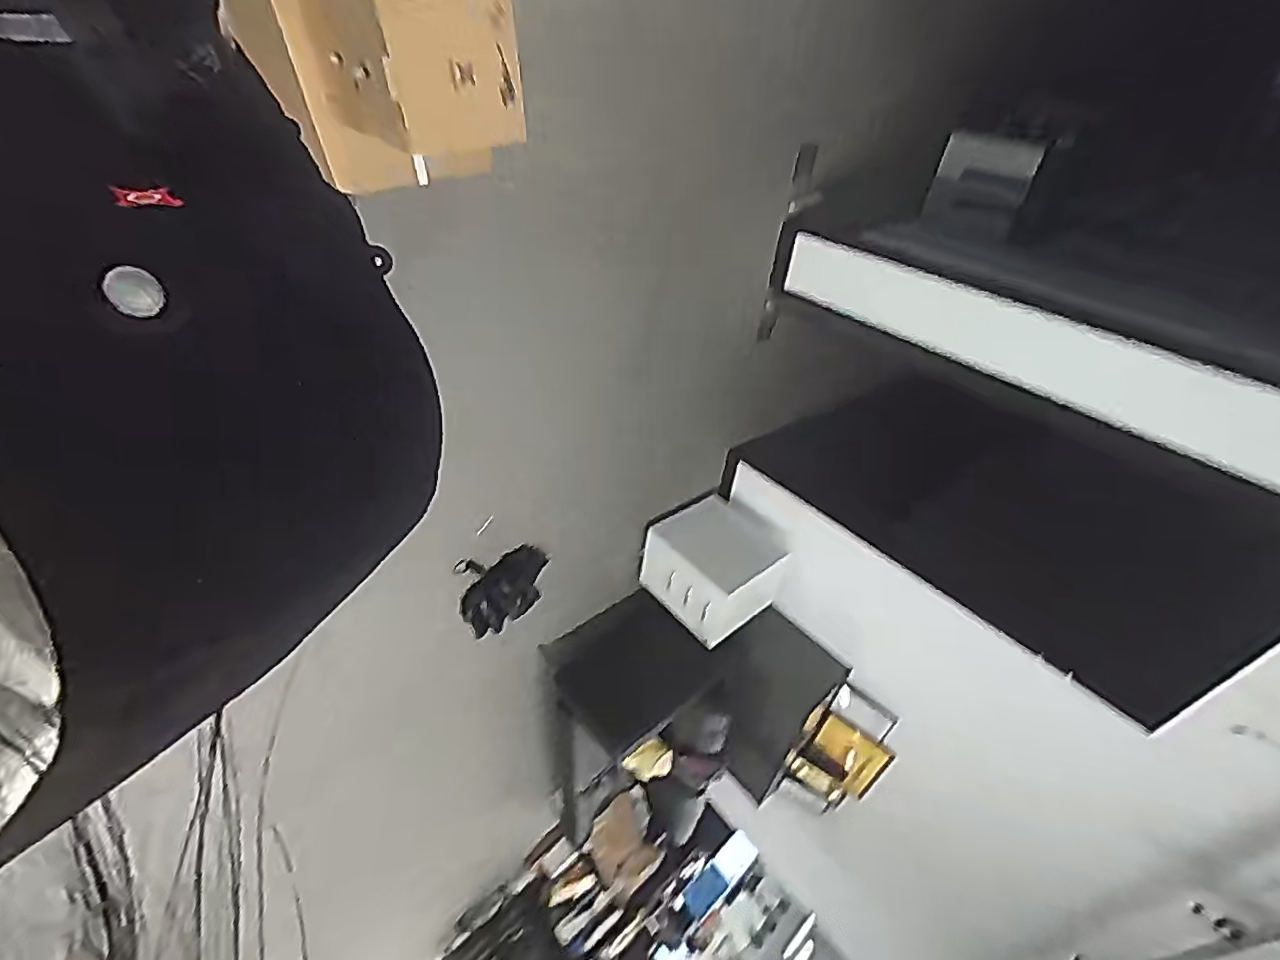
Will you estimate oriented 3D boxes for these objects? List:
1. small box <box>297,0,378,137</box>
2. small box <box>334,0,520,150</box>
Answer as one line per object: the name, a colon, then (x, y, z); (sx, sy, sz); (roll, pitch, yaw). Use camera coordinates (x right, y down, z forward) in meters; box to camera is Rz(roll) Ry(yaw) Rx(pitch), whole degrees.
small box: (-0.393, -0.648, 0.827); (0.168, 0.176, 0.179); (-28, 141, -29)
small box: (-0.289, -0.562, 0.734); (0.179, 0.176, 0.168); (-28, 140, -29)
